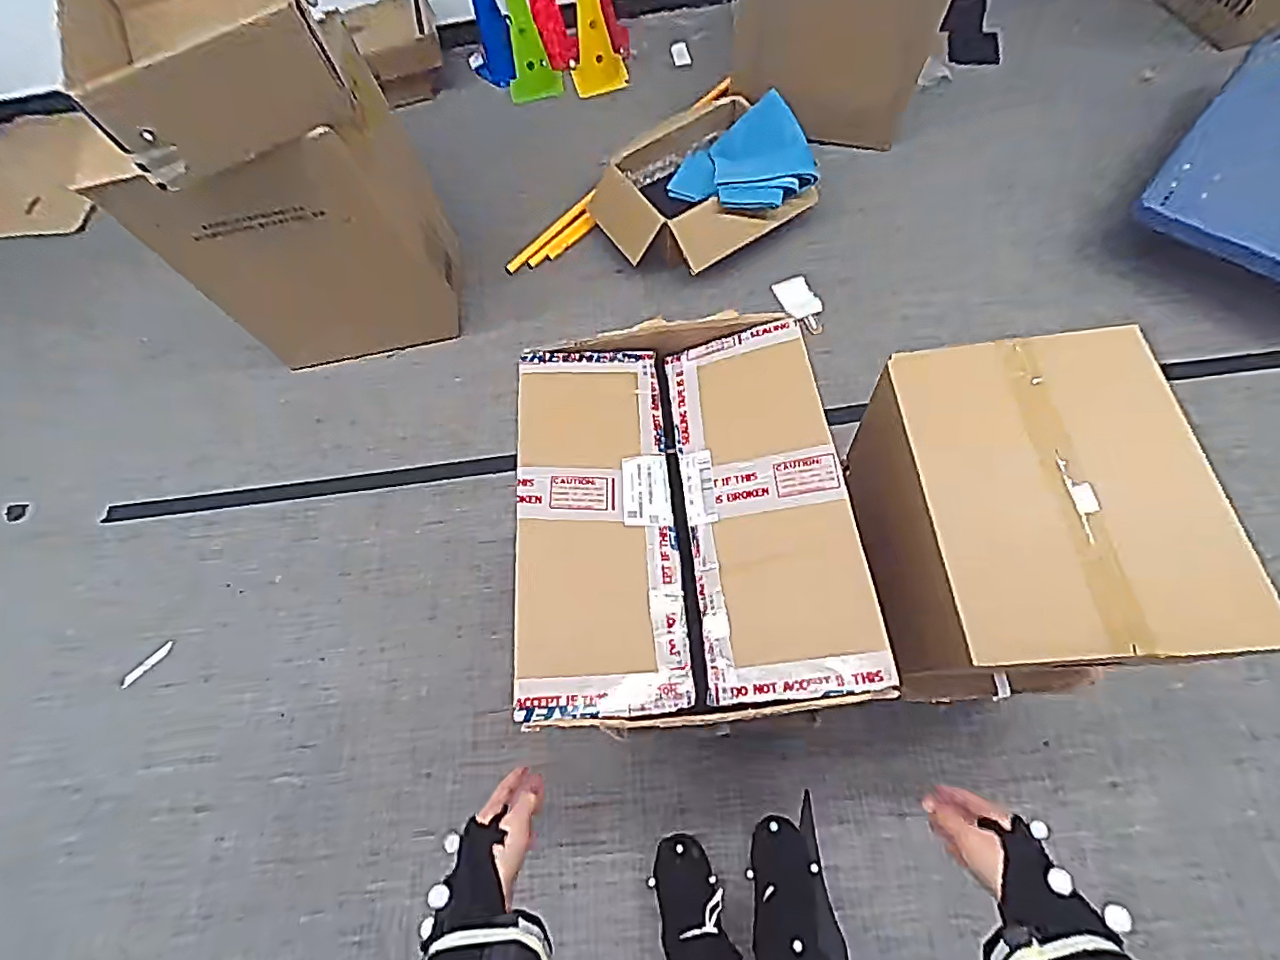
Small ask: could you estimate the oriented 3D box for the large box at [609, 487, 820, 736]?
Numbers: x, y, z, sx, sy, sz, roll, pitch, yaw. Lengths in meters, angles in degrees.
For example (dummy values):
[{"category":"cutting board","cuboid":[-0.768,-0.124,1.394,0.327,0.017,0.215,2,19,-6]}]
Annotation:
[{"category":"large box","cuboid":[0.128,0.269,1.079,0.320,0.320,0.408,-8,67,4]}]
